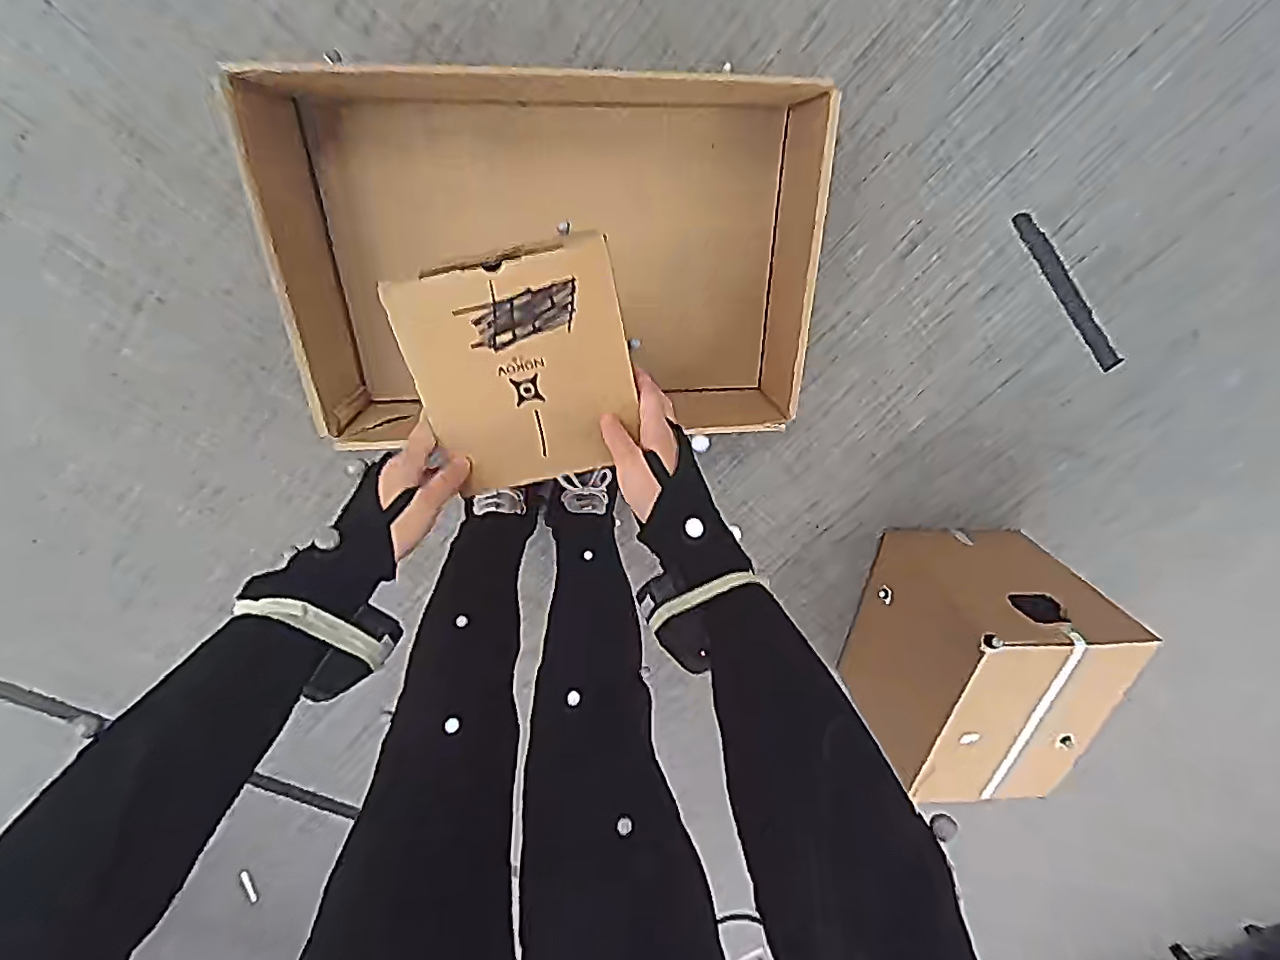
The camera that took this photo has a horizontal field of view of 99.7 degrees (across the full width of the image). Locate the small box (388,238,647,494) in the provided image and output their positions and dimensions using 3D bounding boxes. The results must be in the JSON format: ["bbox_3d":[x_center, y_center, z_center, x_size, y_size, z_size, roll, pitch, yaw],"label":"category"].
[{"bbox_3d":[-0.097,-0.114,0.493,0.168,0.176,0.179,-12,119,-1],"label":"small box"}]
